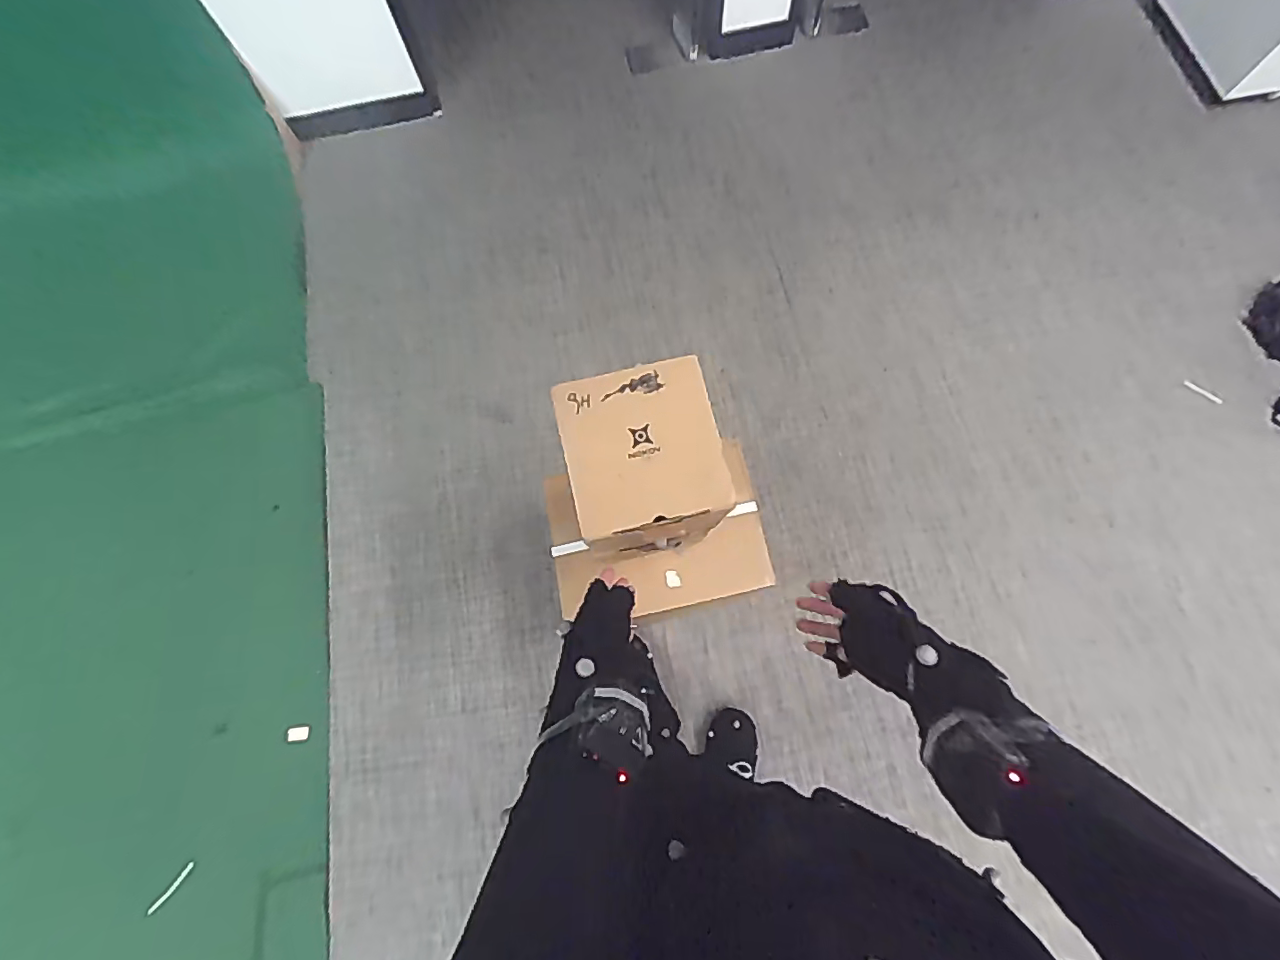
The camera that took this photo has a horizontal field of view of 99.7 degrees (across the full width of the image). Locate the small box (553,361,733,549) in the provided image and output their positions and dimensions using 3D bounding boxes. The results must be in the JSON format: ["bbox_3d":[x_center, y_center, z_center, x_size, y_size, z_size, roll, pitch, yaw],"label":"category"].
[{"bbox_3d":[0.003,-0.017,0.656,0.168,0.176,0.179,-13,79,-2],"label":"small box"}]

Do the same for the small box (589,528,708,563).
[{"bbox_3d":[-0.003,0.024,0.814,0.168,0.176,0.179,-13,77,-3],"label":"small box"}]
